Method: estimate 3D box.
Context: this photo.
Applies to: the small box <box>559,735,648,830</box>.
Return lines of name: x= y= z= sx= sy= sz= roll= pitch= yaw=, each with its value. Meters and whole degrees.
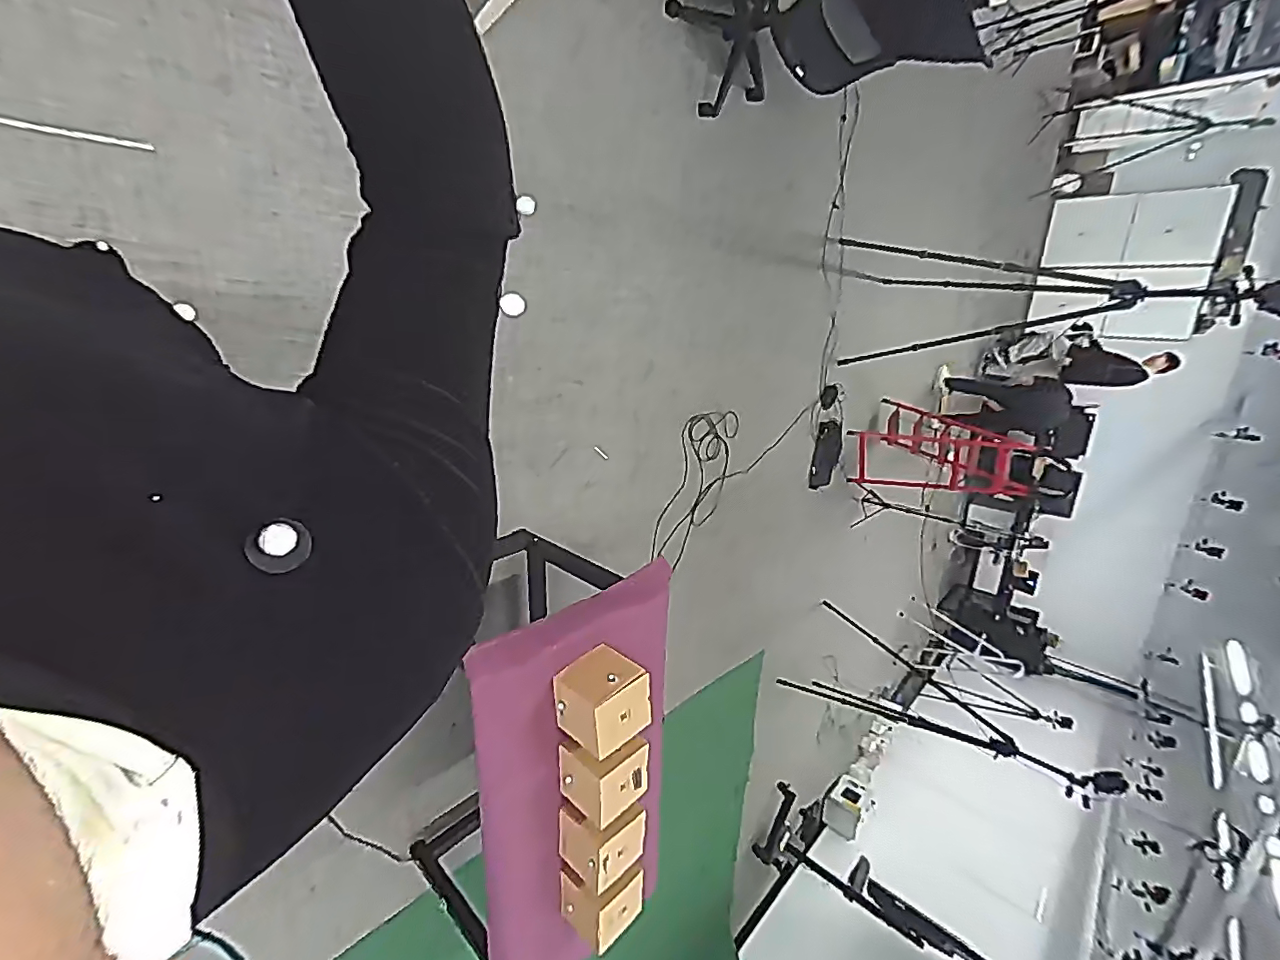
small box: x=-0.098 y=0.772 z=1.450 sx=0.179 sy=0.176 sz=0.168 roll=-16 pitch=114 yaw=-42

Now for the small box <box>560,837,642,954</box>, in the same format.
small box: x=-0.115 y=1.200 z=1.579 sx=0.179 sy=0.176 sz=0.168 roll=-14 pitch=112 yaw=-44

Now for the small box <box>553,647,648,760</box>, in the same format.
small box: x=-0.099 y=0.557 z=1.376 sx=0.179 sy=0.176 sz=0.168 roll=-21 pitch=118 yaw=-41
